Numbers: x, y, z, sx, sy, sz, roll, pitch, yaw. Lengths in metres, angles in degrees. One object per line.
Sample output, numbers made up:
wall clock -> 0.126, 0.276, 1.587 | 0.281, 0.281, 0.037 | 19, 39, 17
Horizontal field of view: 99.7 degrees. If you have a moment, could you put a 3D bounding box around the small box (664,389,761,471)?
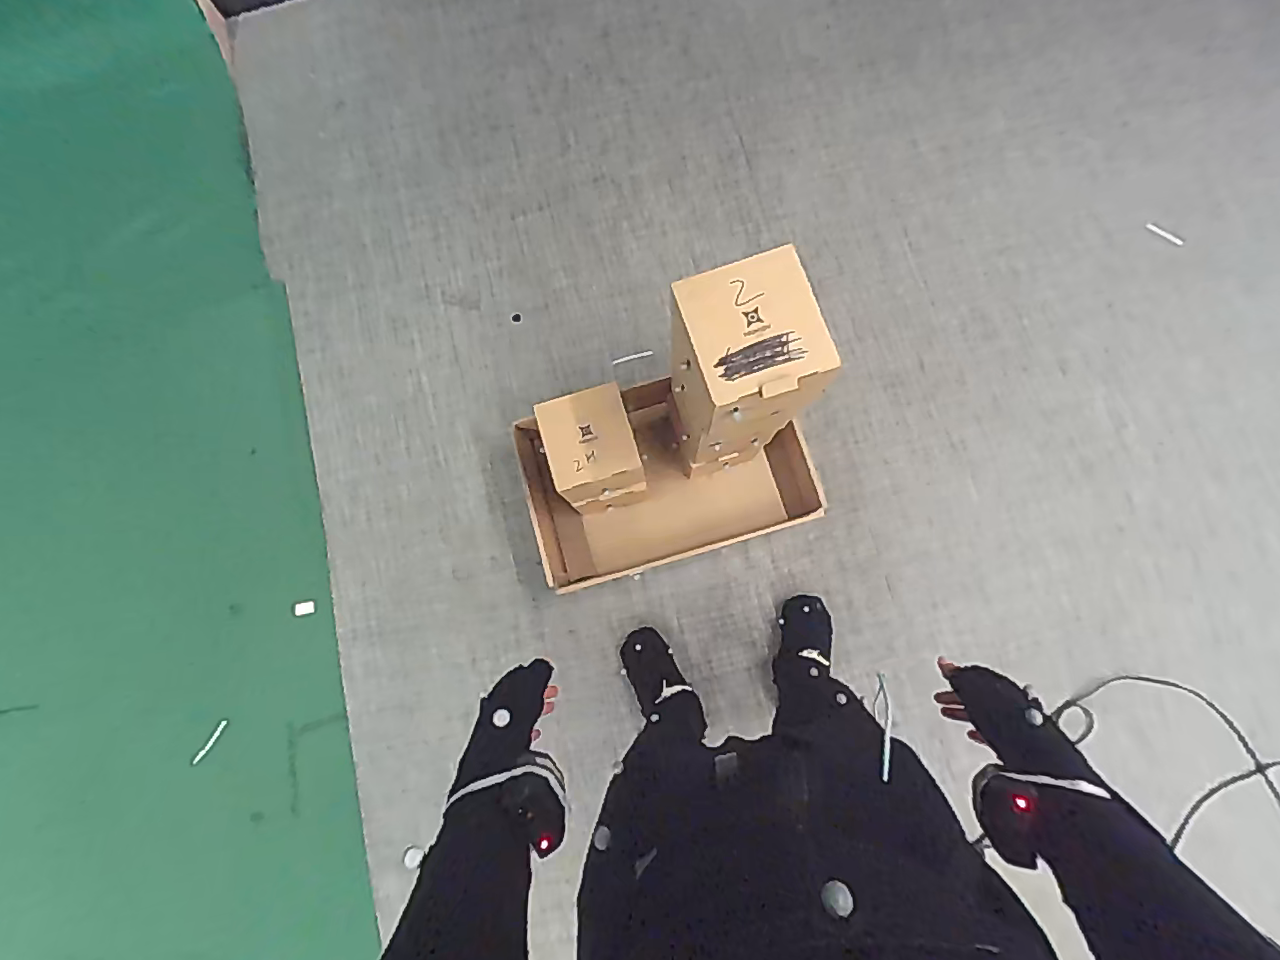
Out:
small box -> 0.163, -0.128, 1.239 | 0.168, 0.176, 0.179 | -21, 80, 1

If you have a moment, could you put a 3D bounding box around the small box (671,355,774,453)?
small box -> 0.164, -0.160, 1.060 | 0.168, 0.176, 0.179 | -16, 81, 1

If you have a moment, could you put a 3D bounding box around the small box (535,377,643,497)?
small box -> -0.095, -0.078, 1.076 | 0.168, 0.176, 0.179 | -17, 80, 0

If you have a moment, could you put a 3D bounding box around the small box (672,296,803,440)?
small box -> 0.155, -0.175, 0.914 | 0.168, 0.176, 0.179 | -15, 81, 0
